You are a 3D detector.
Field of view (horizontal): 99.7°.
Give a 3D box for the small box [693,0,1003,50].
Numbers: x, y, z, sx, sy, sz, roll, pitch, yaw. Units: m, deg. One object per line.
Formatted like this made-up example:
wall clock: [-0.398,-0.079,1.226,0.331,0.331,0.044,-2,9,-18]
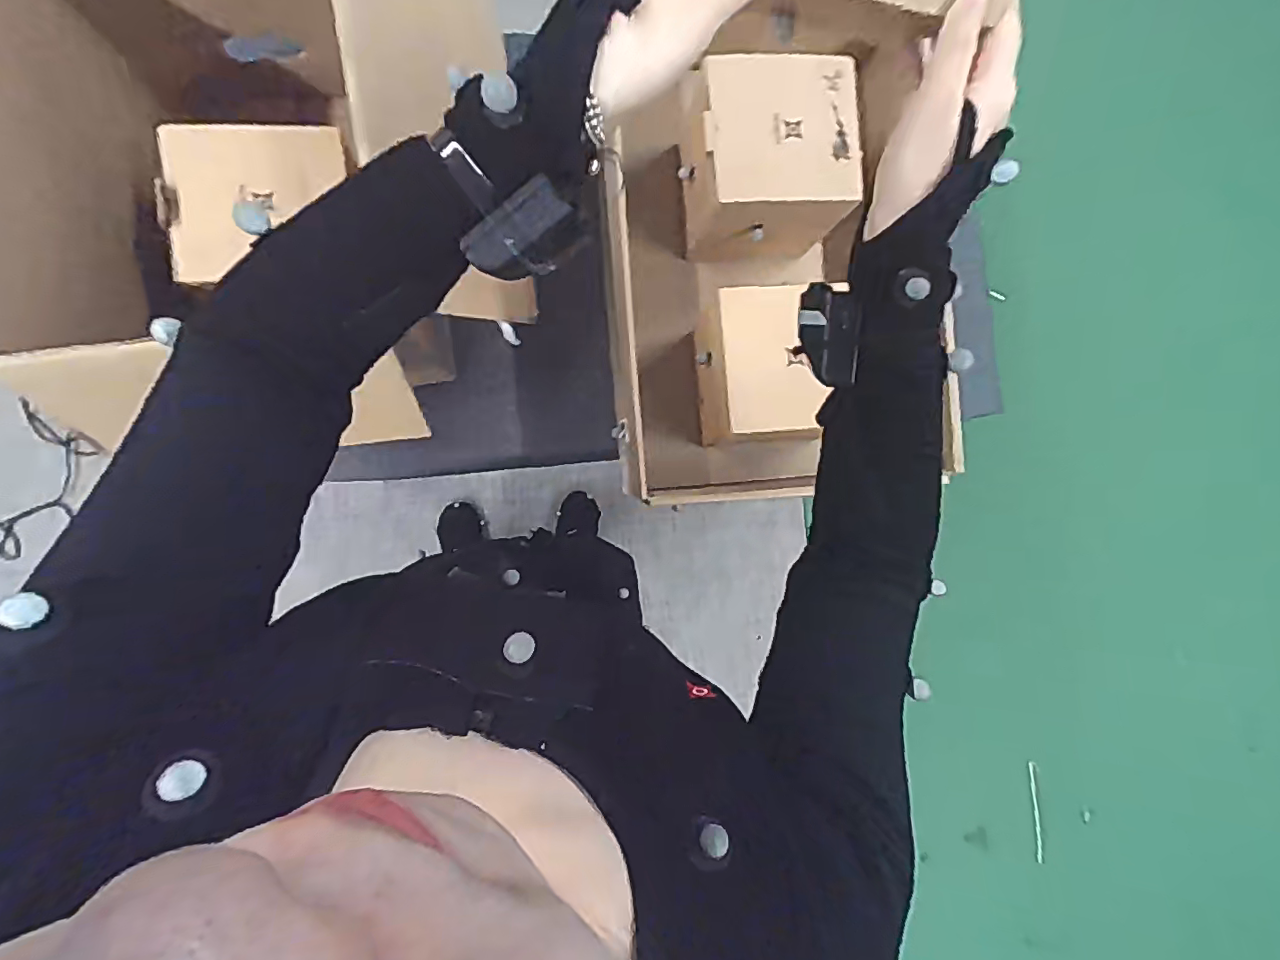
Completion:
small box: [0.121,-0.361,0.293,0.168,0.176,0.179,9,128,-6]
